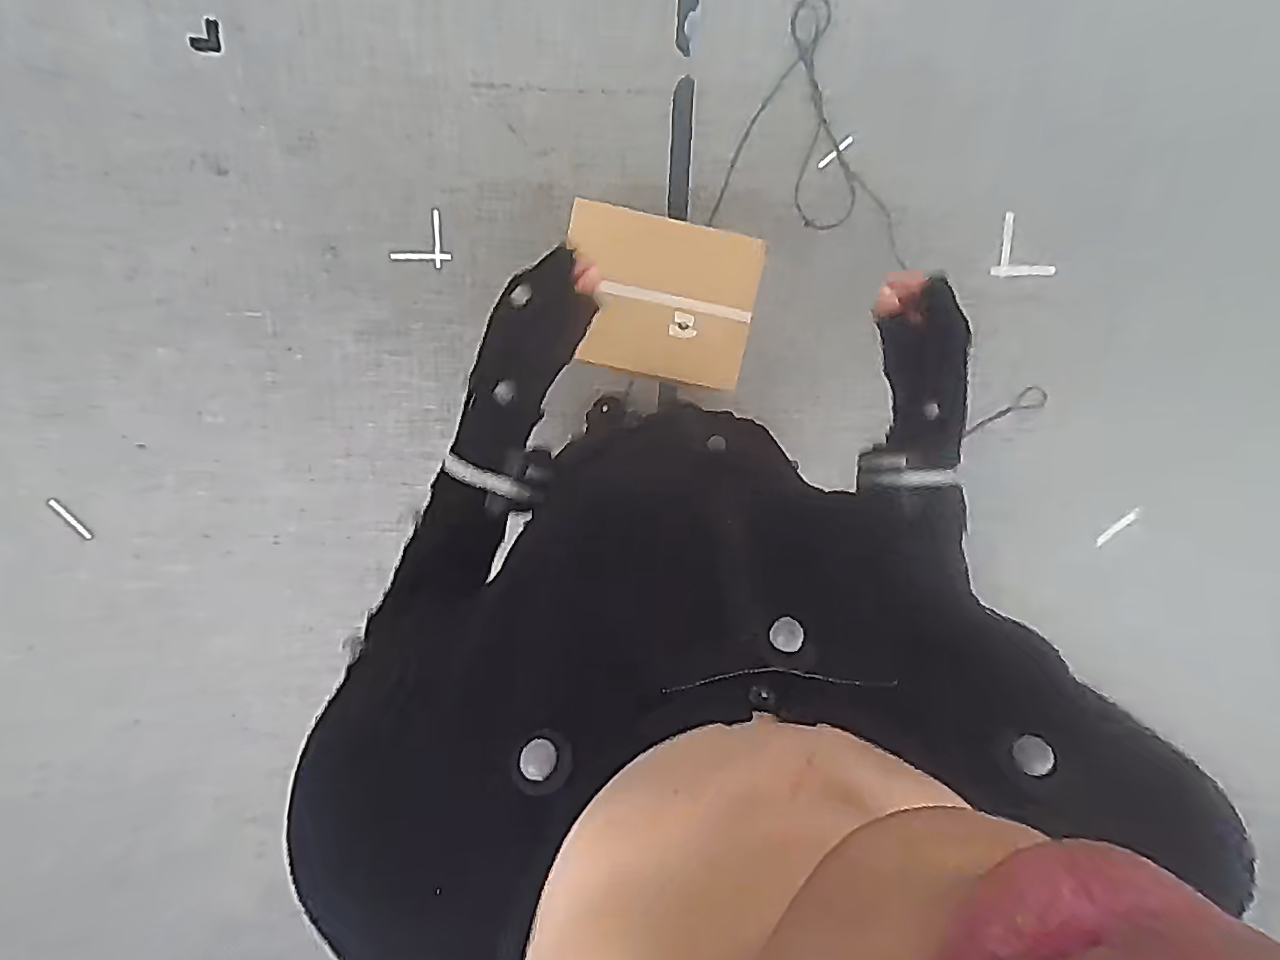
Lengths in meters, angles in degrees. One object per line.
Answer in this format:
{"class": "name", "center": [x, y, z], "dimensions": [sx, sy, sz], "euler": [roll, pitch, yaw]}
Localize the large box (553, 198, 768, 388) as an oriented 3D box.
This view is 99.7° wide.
{"class": "large box", "center": [0.033, -0.404, 1.257], "dimensions": [0.408, 0.320, 0.320], "euler": [11, 98, -3]}
